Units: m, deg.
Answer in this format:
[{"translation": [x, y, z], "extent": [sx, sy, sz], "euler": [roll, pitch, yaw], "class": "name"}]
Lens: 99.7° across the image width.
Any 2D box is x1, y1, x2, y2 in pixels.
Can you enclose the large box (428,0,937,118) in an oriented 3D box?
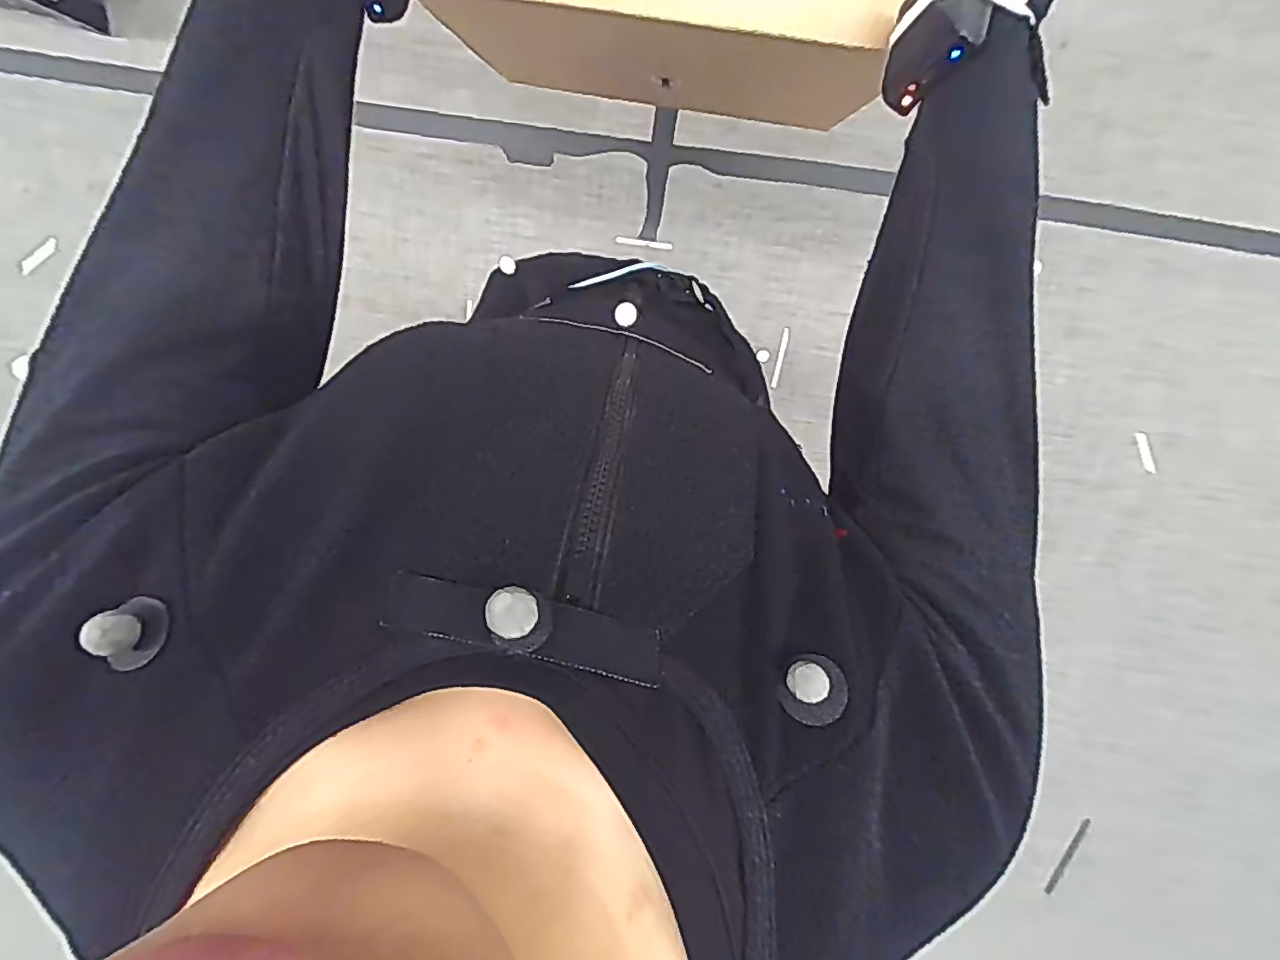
[{"translation": [0.046, -0.544, 0.470], "extent": [0.408, 0.320, 0.320], "euler": [9, 114, 0], "class": "large box"}]
